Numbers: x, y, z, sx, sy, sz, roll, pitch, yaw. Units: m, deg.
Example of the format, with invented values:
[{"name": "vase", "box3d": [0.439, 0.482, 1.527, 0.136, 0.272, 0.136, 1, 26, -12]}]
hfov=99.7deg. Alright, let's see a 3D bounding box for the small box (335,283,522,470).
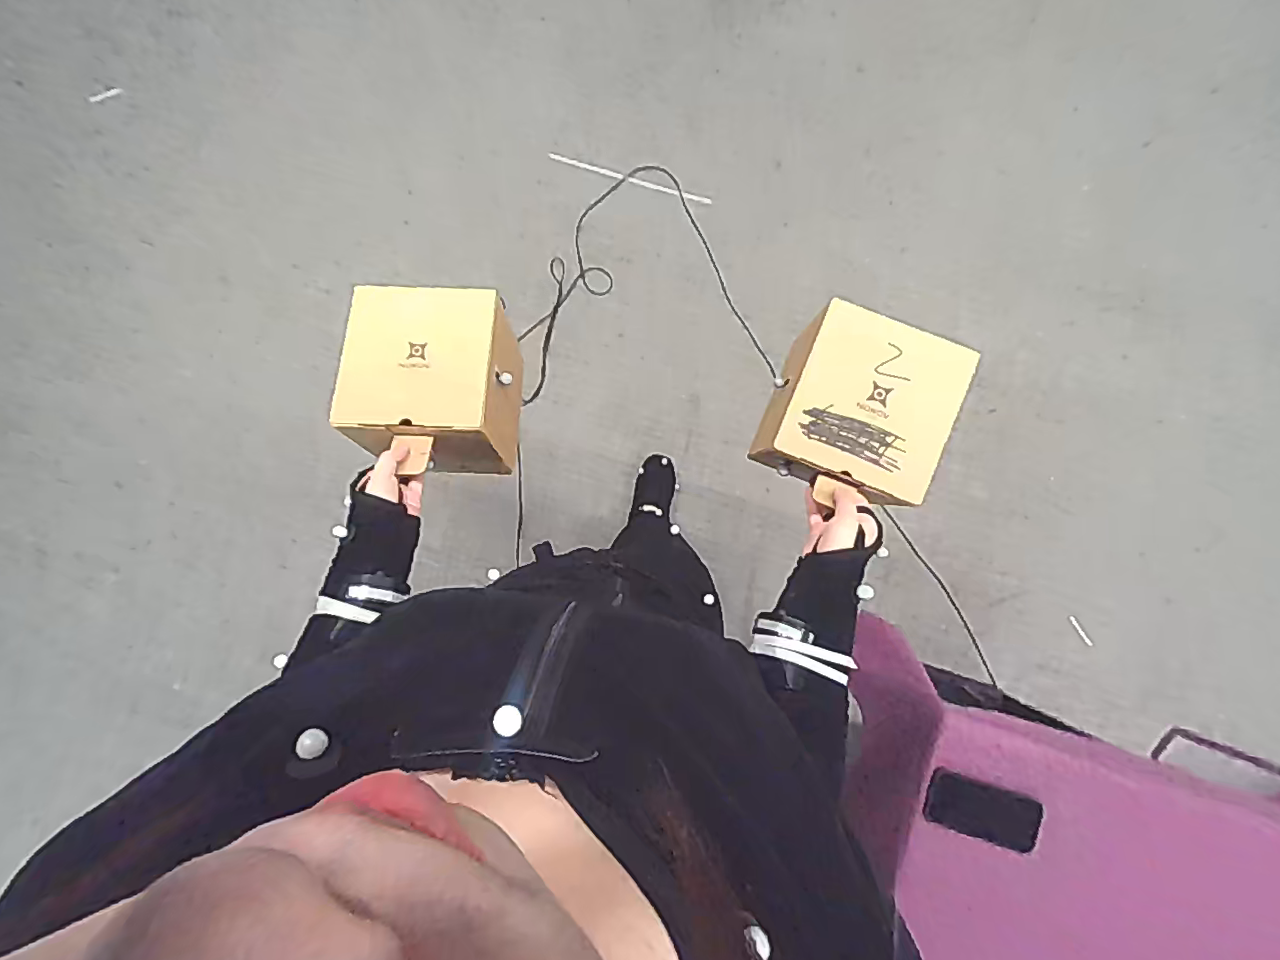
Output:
[{"name": "small box", "box3d": [-0.250, -0.123, 0.687, 0.168, 0.176, 0.179, 2, 75, 0]}]
